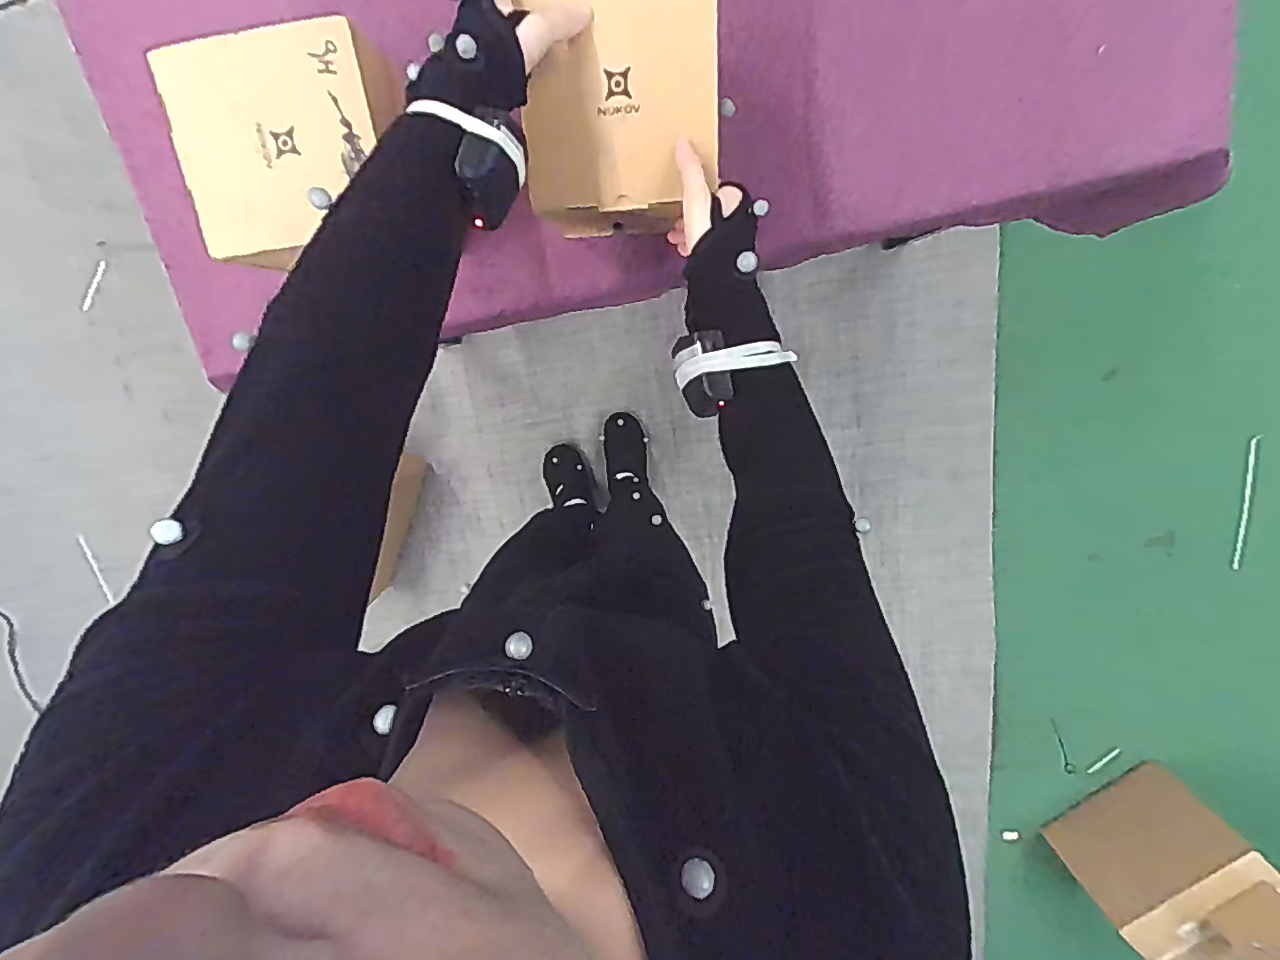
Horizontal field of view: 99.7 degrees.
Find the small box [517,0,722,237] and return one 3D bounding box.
[{"bbox_3d":[-0.012,-0.341,0.522,0.168,0.176,0.179,-2,109,3],"label":"small box"}]

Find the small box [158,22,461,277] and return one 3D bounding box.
[{"bbox_3d":[-0.305,-0.306,0.542,0.179,0.176,0.168,-7,105,3],"label":"small box"}]
